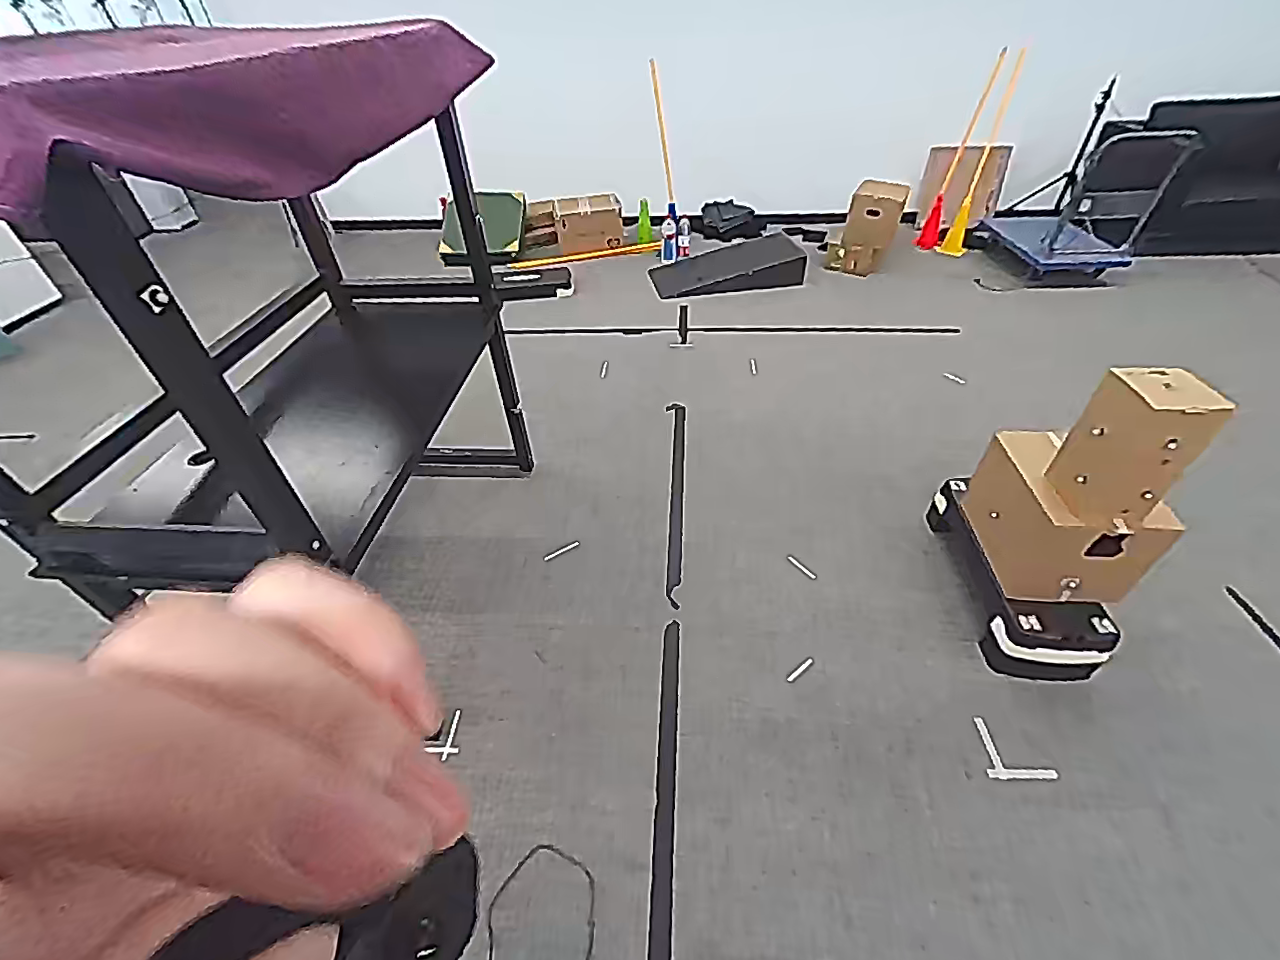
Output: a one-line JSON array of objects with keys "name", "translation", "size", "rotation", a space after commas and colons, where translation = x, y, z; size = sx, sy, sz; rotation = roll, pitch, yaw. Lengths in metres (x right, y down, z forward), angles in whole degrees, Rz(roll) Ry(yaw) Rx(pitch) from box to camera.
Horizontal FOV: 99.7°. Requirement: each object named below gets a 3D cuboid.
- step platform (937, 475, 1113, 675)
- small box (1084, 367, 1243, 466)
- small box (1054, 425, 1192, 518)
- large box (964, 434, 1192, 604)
[{"name": "step platform", "translation": [1.210, 0.267, 1.759], "size": [0.286, 0.204, 0.684], "rotation": [5, 41, 9]}, {"name": "small box", "translation": [1.192, -0.146, 1.251], "size": [0.168, 0.176, 0.179], "rotation": [1, 42, 4]}, {"name": "small box", "translation": [1.196, -0.021, 1.357], "size": [0.168, 0.176, 0.179], "rotation": [2, 41, 6]}, {"name": "large box", "translation": [1.224, 0.109, 1.577], "size": [0.320, 0.320, 0.408], "rotation": [2, 41, 5]}]
